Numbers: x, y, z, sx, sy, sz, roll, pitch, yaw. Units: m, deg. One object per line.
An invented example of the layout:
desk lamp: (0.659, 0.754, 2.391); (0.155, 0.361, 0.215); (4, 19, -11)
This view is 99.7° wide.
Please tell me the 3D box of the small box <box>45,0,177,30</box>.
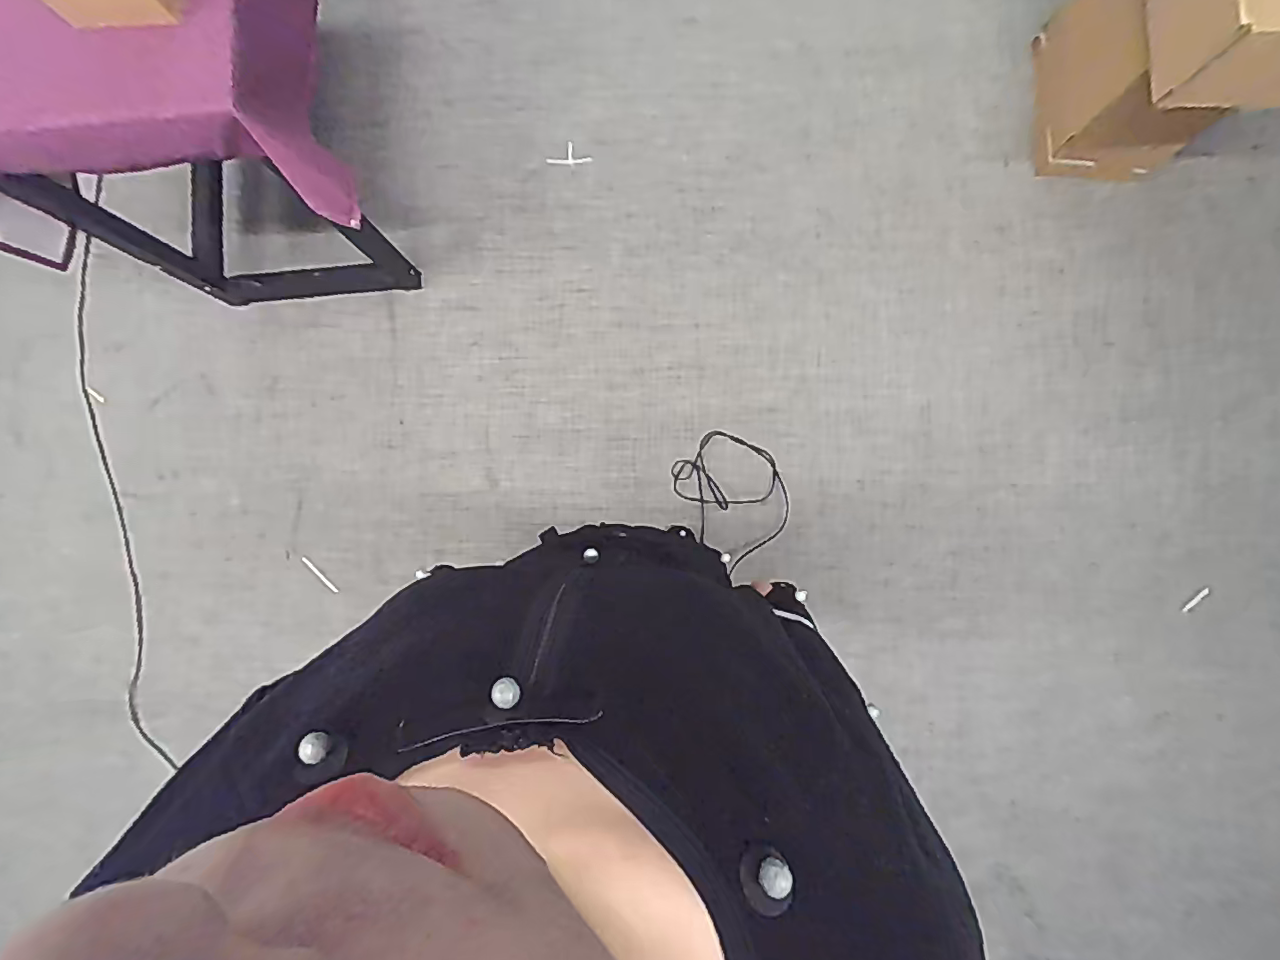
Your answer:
small box: (-0.824, -0.812, 0.796); (0.179, 0.176, 0.168); (-1, 85, 2)
